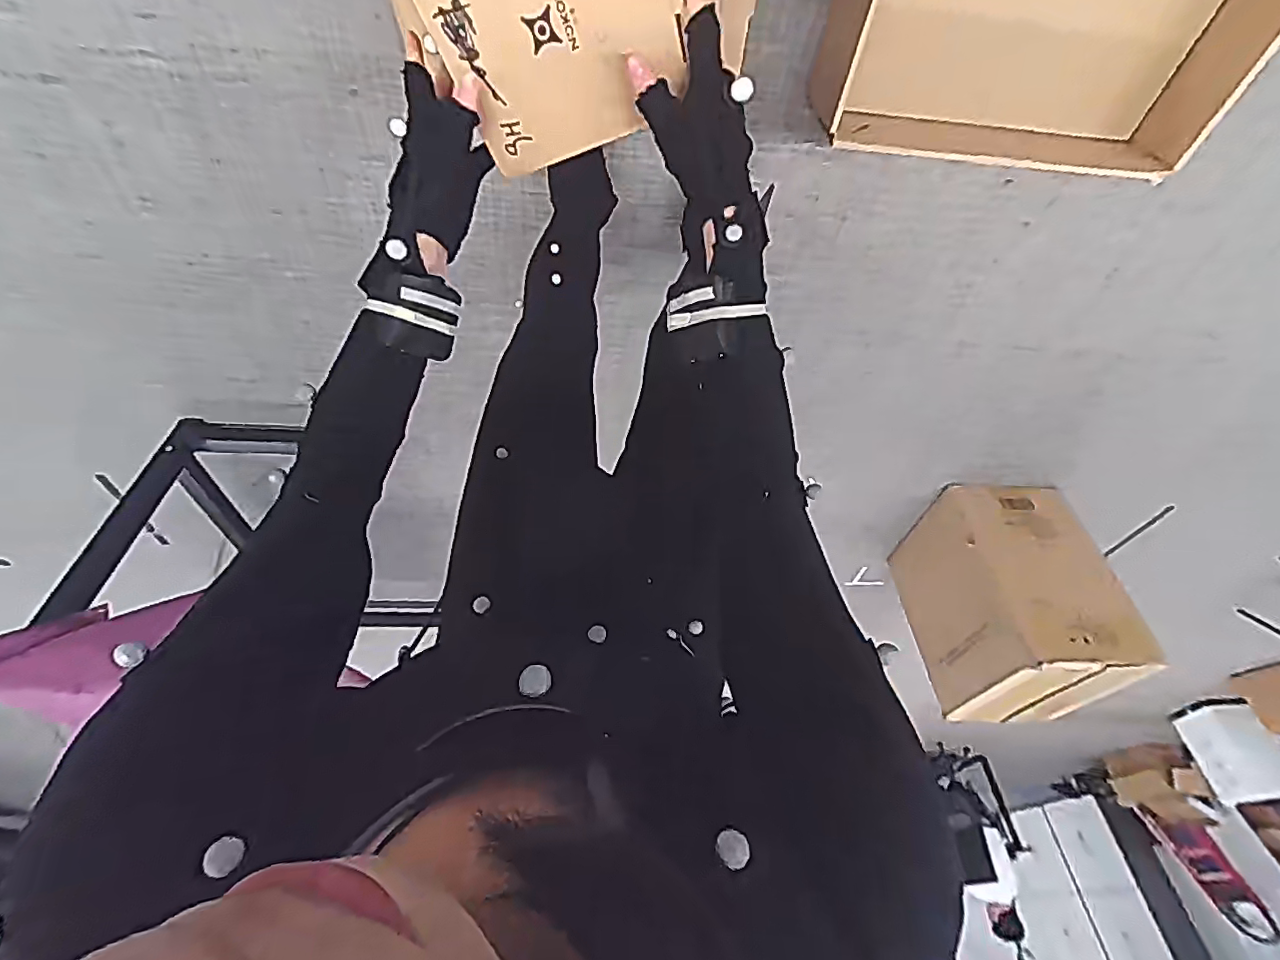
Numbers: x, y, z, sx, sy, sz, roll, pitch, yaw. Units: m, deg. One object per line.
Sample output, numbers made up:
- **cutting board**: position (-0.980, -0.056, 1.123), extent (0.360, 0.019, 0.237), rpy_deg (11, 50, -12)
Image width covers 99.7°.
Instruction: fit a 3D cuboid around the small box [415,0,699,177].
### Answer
- **small box**: position (-0.062, -0.386, 0.432), extent (0.179, 0.176, 0.168), rpy_deg (-13, 140, 13)
